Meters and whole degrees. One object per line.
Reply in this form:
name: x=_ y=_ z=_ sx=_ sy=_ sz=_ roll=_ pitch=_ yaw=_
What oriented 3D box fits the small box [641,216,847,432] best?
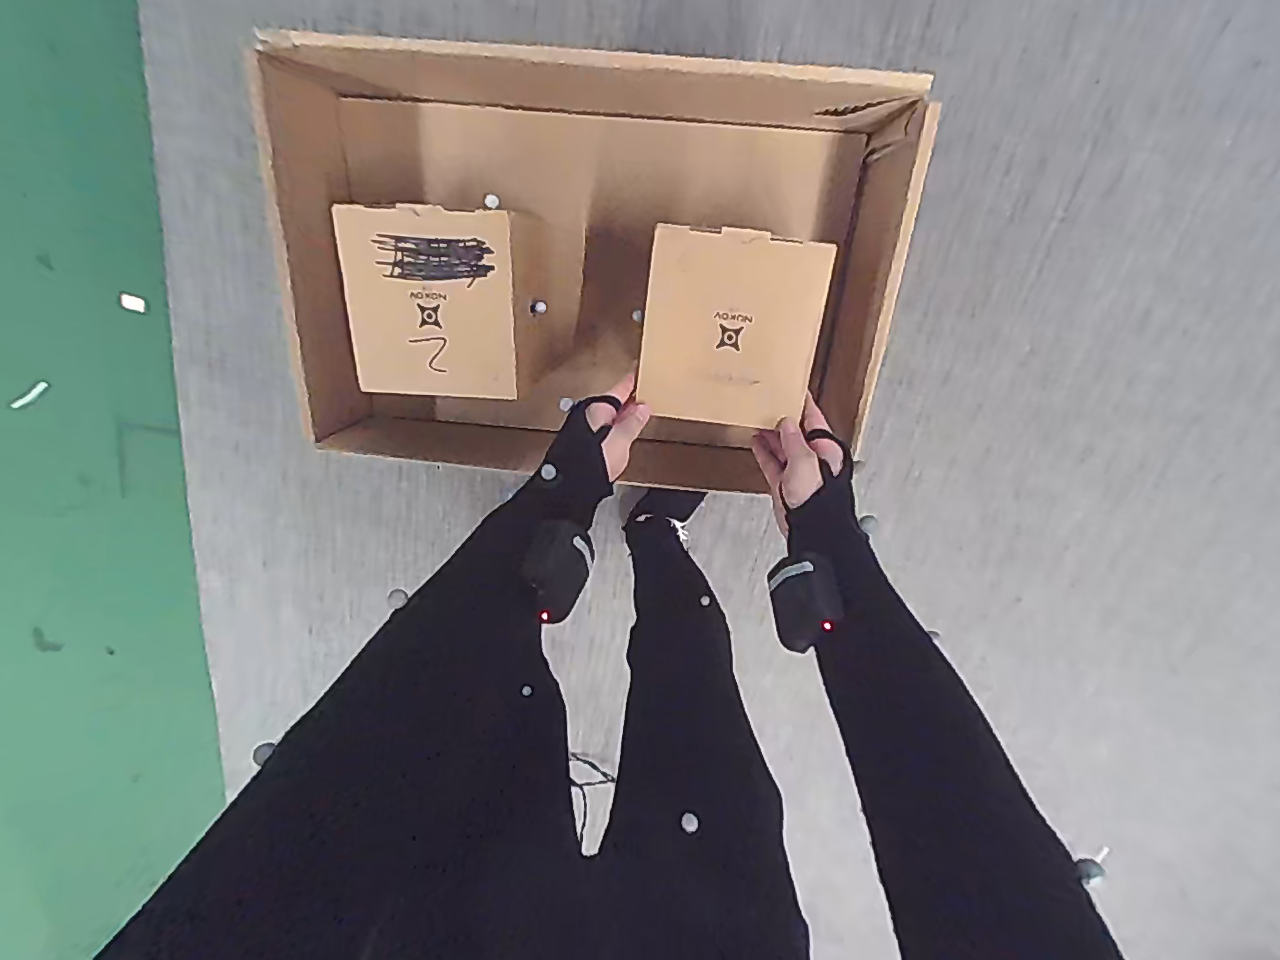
small box: x=0.095 y=-0.163 z=0.574 sx=0.168 sy=0.176 sz=0.179 roll=8 pitch=108 yaw=1
